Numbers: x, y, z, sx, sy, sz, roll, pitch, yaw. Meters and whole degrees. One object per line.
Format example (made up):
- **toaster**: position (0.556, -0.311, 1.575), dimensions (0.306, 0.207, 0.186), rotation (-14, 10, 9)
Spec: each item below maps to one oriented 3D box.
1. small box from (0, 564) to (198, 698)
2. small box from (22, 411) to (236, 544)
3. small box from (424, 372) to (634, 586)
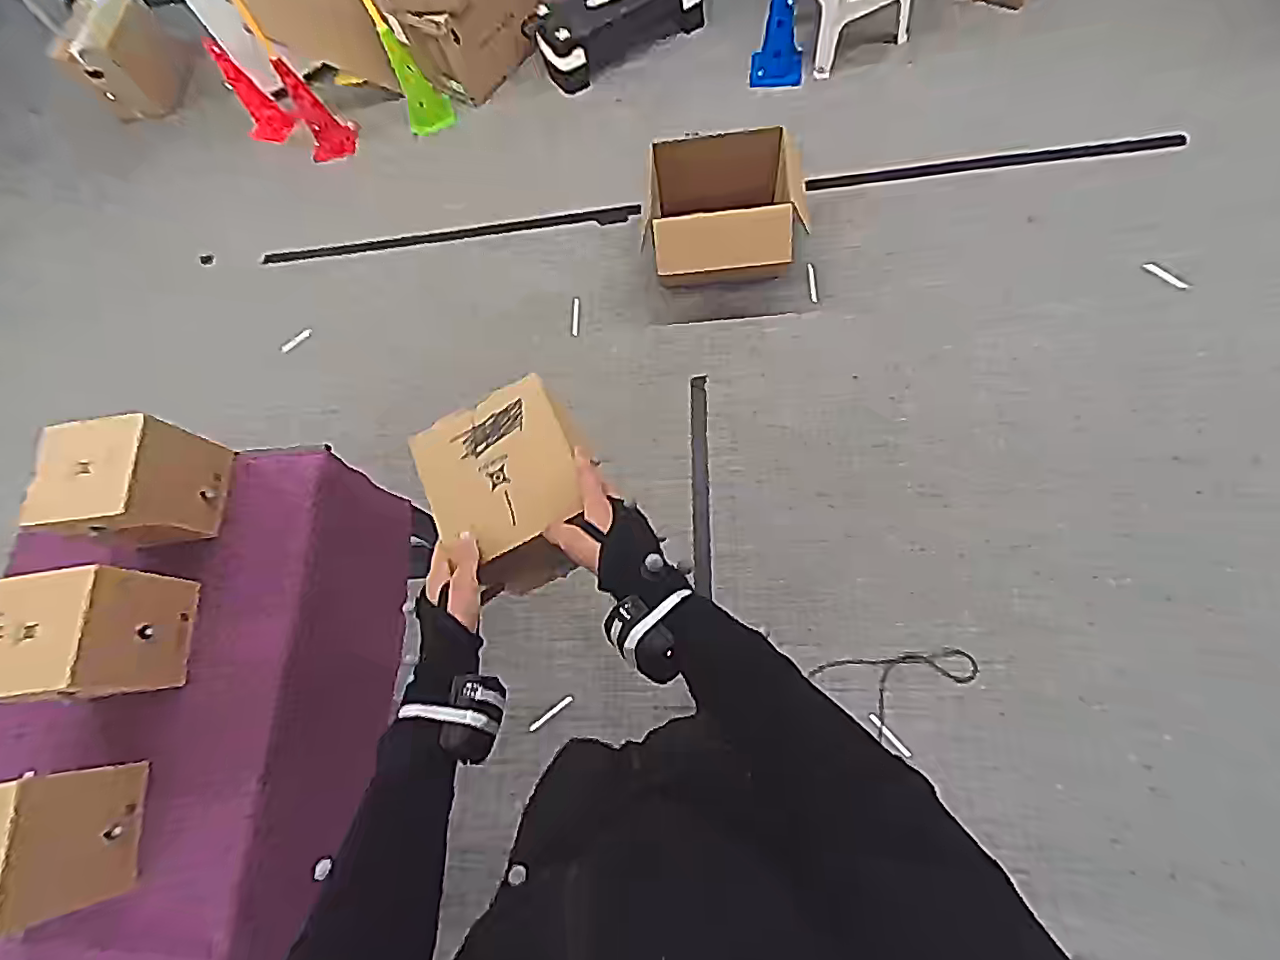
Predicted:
- **small box**: position (-0.822, 0.230, 0.813), dimensions (0.179, 0.176, 0.168), rotation (-9, 69, 6)
- **small box**: position (-0.827, 0.005, 0.894), dimensions (0.179, 0.176, 0.168), rotation (-7, 71, 7)
- **small box**: position (-0.124, 0.009, 0.649), dimensions (0.168, 0.176, 0.179), rotation (-26, 69, 3)
